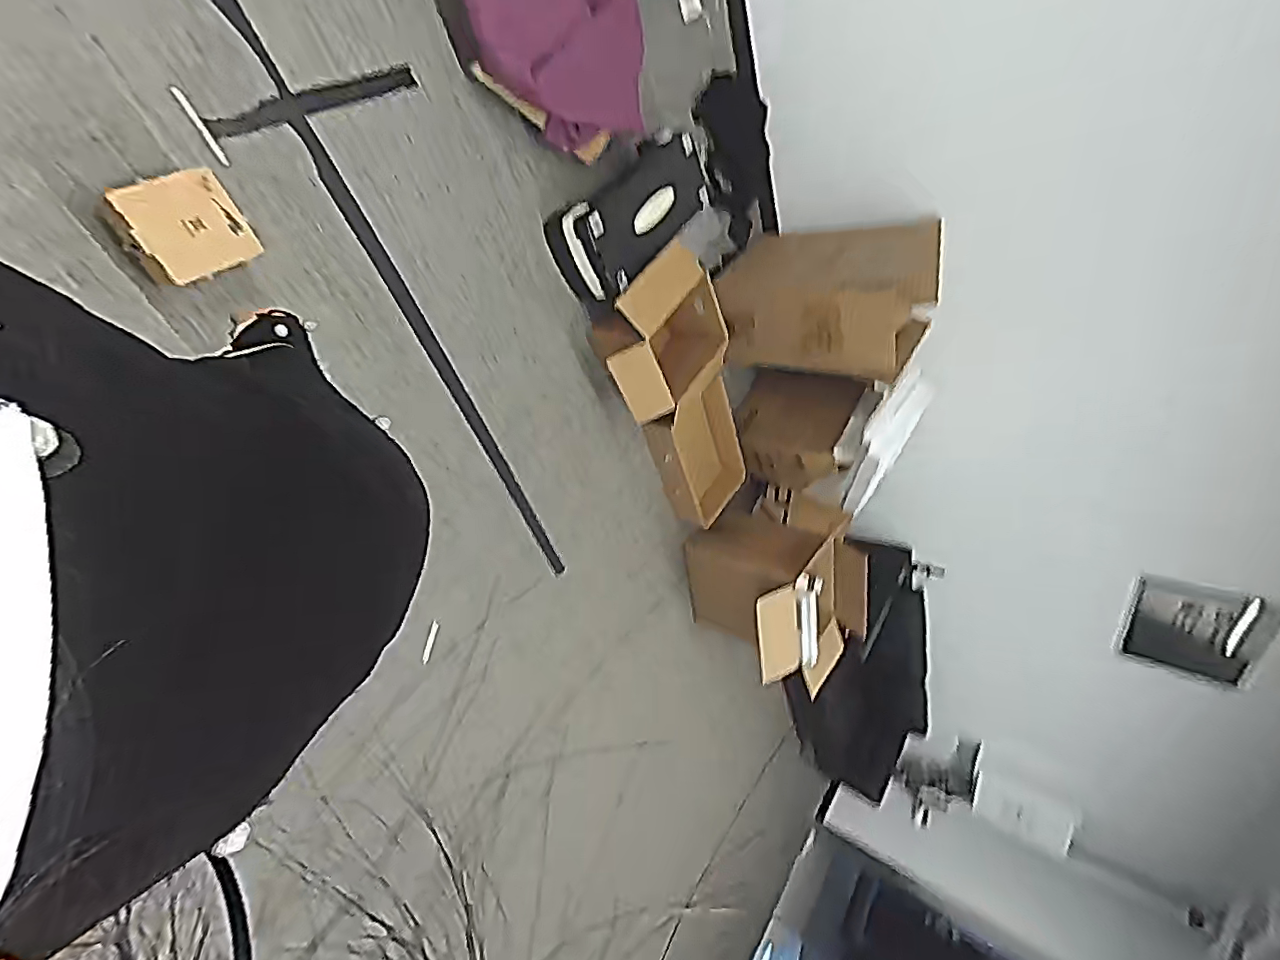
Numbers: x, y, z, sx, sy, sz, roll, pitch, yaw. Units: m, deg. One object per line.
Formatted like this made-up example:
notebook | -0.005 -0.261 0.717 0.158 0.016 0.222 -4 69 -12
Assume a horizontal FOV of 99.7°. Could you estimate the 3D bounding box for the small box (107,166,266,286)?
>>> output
small box | -0.897 -0.494 1.069 0.179 0.176 0.168 -44 131 -31
